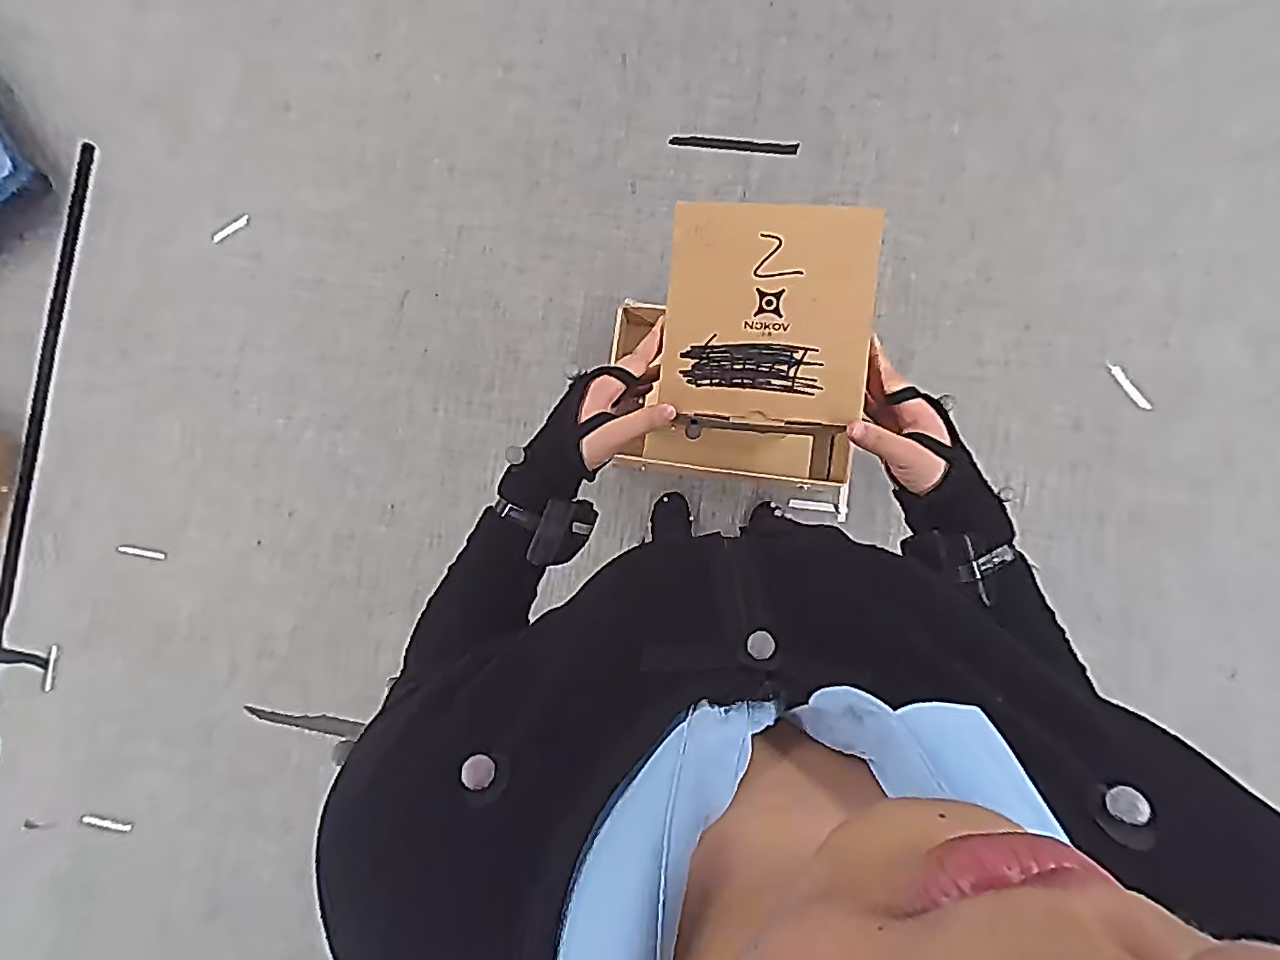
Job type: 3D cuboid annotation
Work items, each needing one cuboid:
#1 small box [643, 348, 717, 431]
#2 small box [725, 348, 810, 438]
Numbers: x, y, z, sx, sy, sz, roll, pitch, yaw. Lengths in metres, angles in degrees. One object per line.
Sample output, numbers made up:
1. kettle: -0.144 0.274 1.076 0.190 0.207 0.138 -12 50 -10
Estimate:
1. small box: 0.101 -0.226 1.394 0.168 0.176 0.179 6 88 2
2. small box: 0.318 -0.216 1.381 0.168 0.176 0.179 13 89 5
